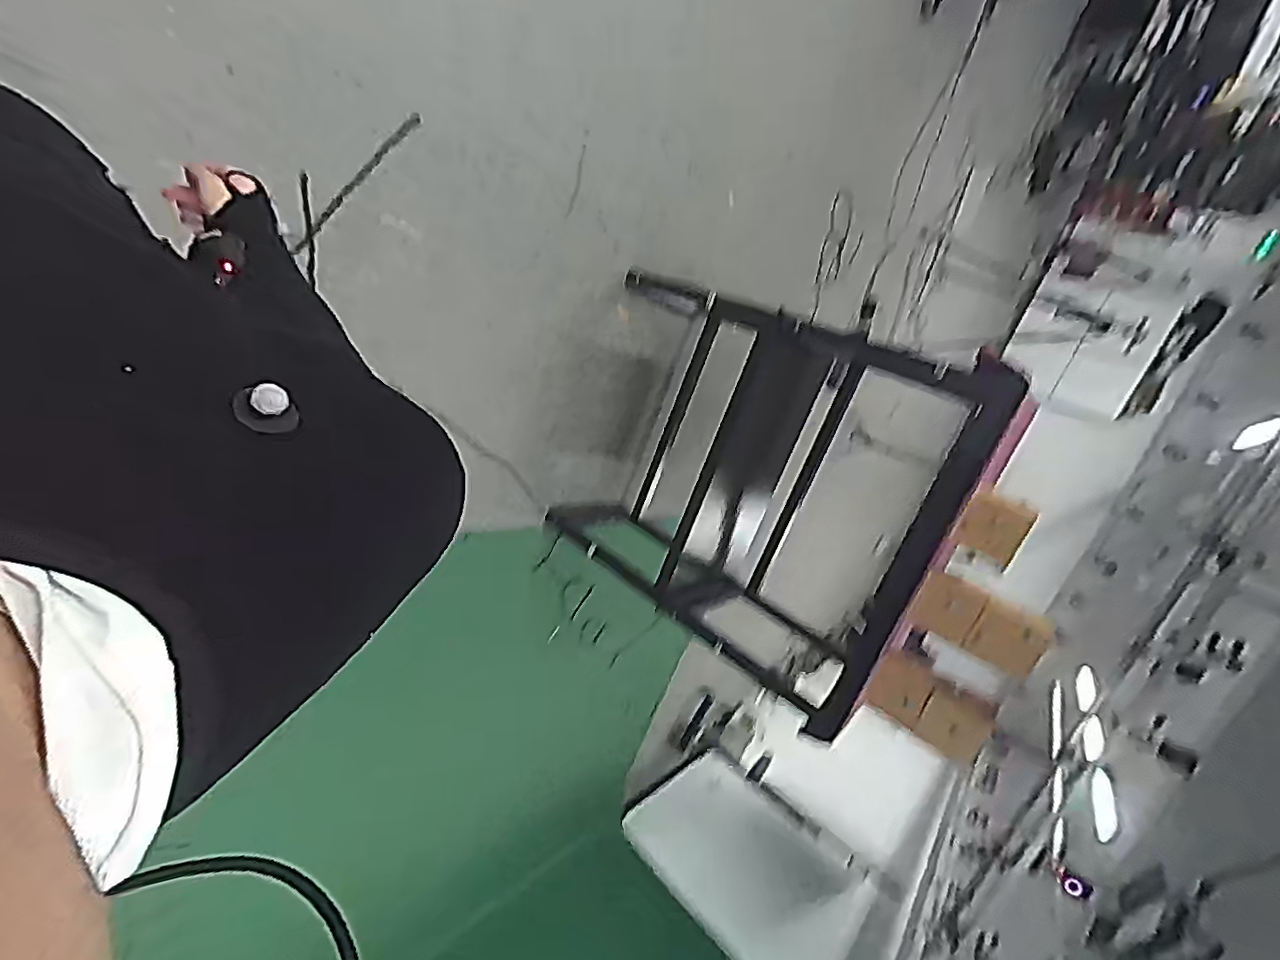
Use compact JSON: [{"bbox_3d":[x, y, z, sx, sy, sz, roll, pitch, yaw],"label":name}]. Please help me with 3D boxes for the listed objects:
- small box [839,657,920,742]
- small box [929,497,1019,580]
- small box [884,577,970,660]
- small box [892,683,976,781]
[{"bbox_3d":[0.763,0.685,1.724,0.168,0.176,0.179,7,110,-56],"label":"small box"},{"bbox_3d":[0.967,0.163,1.572,0.179,0.176,0.168,-8,122,-53],"label":"small box"},{"bbox_3d":[0.867,0.408,1.636,0.168,0.176,0.179,4,112,-55],"label":"small box"},{"bbox_3d":[0.882,0.755,1.636,0.168,0.176,0.179,-3,117,-53],"label":"small box"}]
